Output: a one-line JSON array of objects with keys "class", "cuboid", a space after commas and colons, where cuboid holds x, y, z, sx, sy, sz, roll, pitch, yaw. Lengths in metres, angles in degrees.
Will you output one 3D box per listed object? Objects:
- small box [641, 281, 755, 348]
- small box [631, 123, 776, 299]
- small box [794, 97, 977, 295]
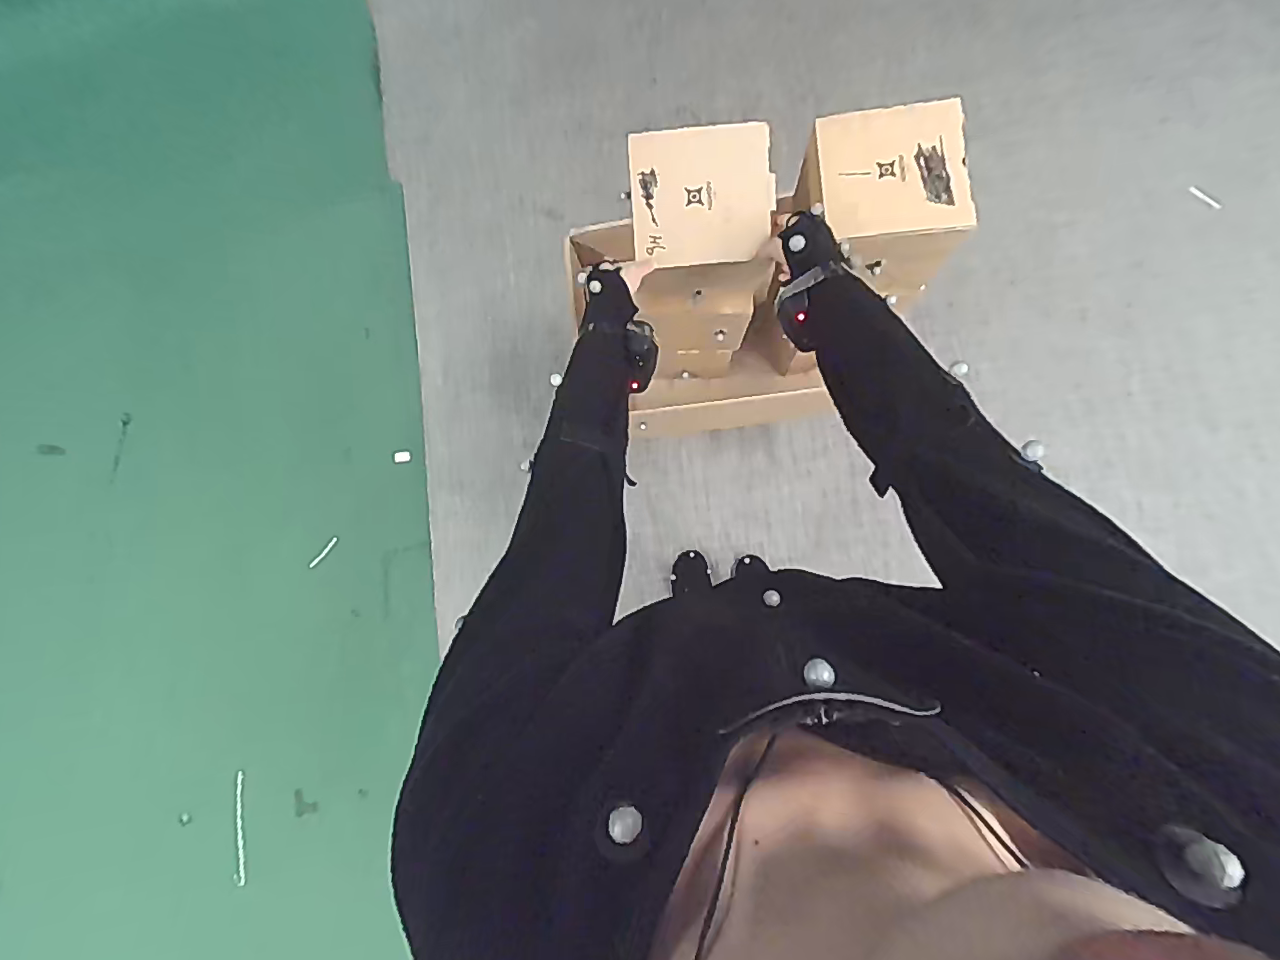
[{"class": "small box", "cuboid": [0.092, -0.331, 0.915, 0.179, 0.176, 0.168, 0, 83, 3]}, {"class": "small box", "cuboid": [0.078, -0.354, 0.740, 0.179, 0.176, 0.168, -3, 94, 1]}, {"class": "small box", "cuboid": [0.315, -0.367, 0.728, 0.179, 0.176, 0.168, -3, 83, 7]}]
